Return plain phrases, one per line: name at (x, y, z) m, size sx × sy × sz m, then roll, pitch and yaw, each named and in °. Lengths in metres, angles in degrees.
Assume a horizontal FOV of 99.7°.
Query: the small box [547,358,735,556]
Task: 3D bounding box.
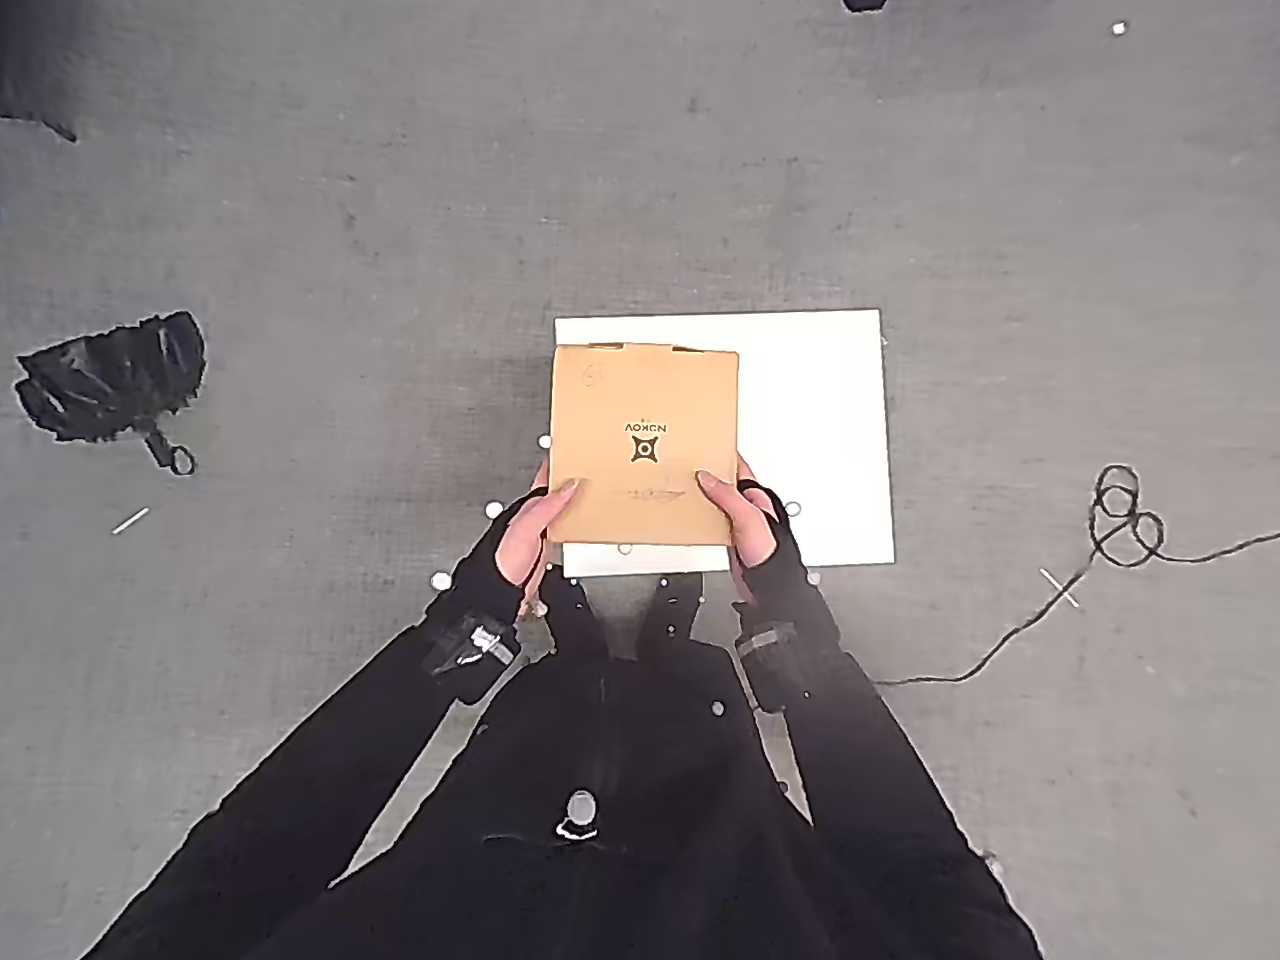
small box at (0.000, -0.015, 0.562) m, size 0.168 × 0.176 × 0.179 m, roll 2°, pitch 86°, yaw -1°
